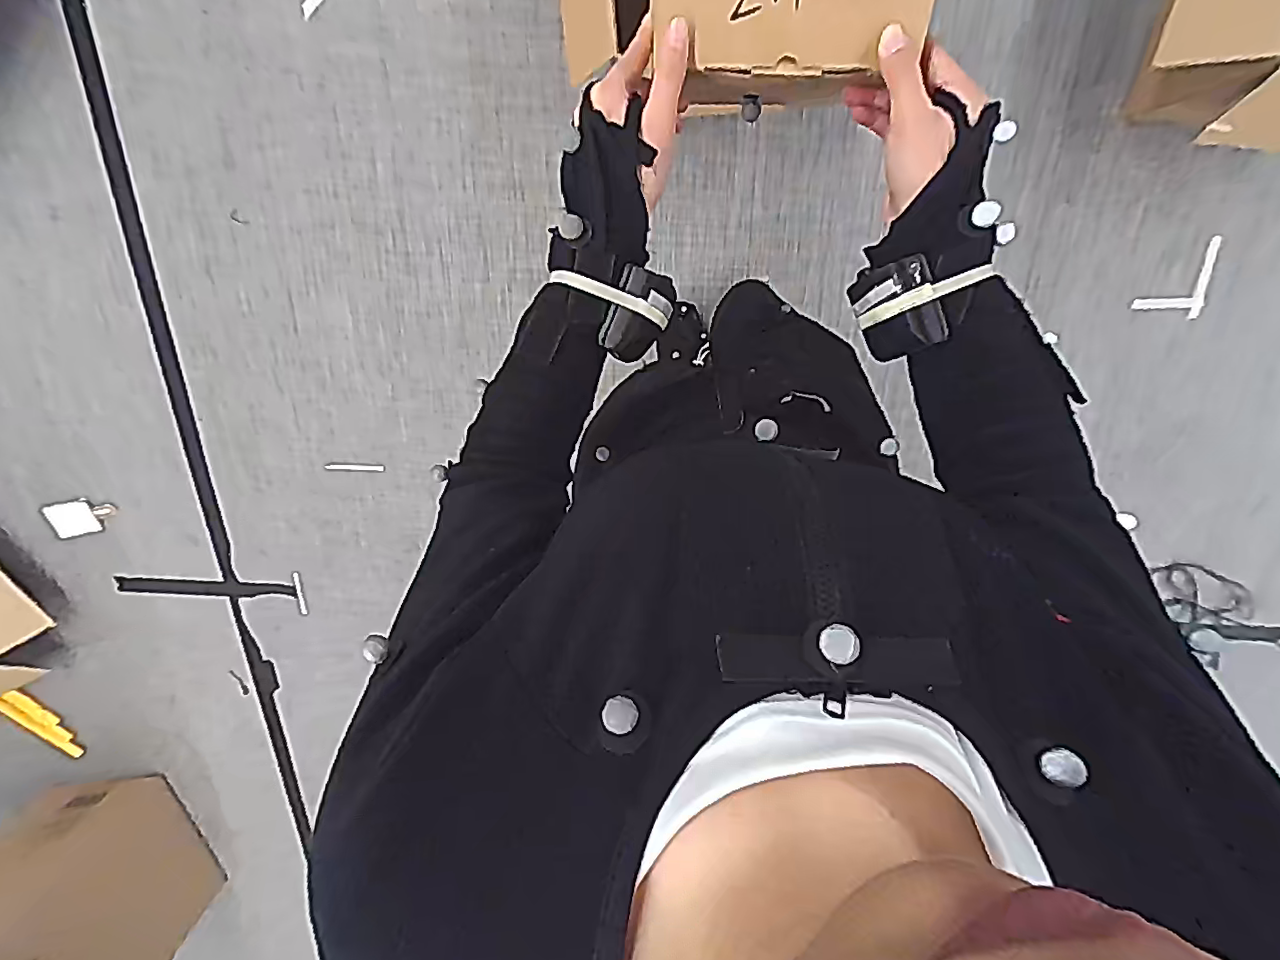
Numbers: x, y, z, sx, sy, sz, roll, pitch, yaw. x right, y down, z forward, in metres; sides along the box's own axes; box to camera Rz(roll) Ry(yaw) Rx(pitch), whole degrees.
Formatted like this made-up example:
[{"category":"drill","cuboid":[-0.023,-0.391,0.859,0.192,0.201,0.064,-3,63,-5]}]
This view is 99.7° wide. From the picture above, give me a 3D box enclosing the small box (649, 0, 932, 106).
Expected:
[{"category":"small box","cuboid":[0.091,-0.370,0.363,0.168,0.176,0.179,1,119,0]}]
